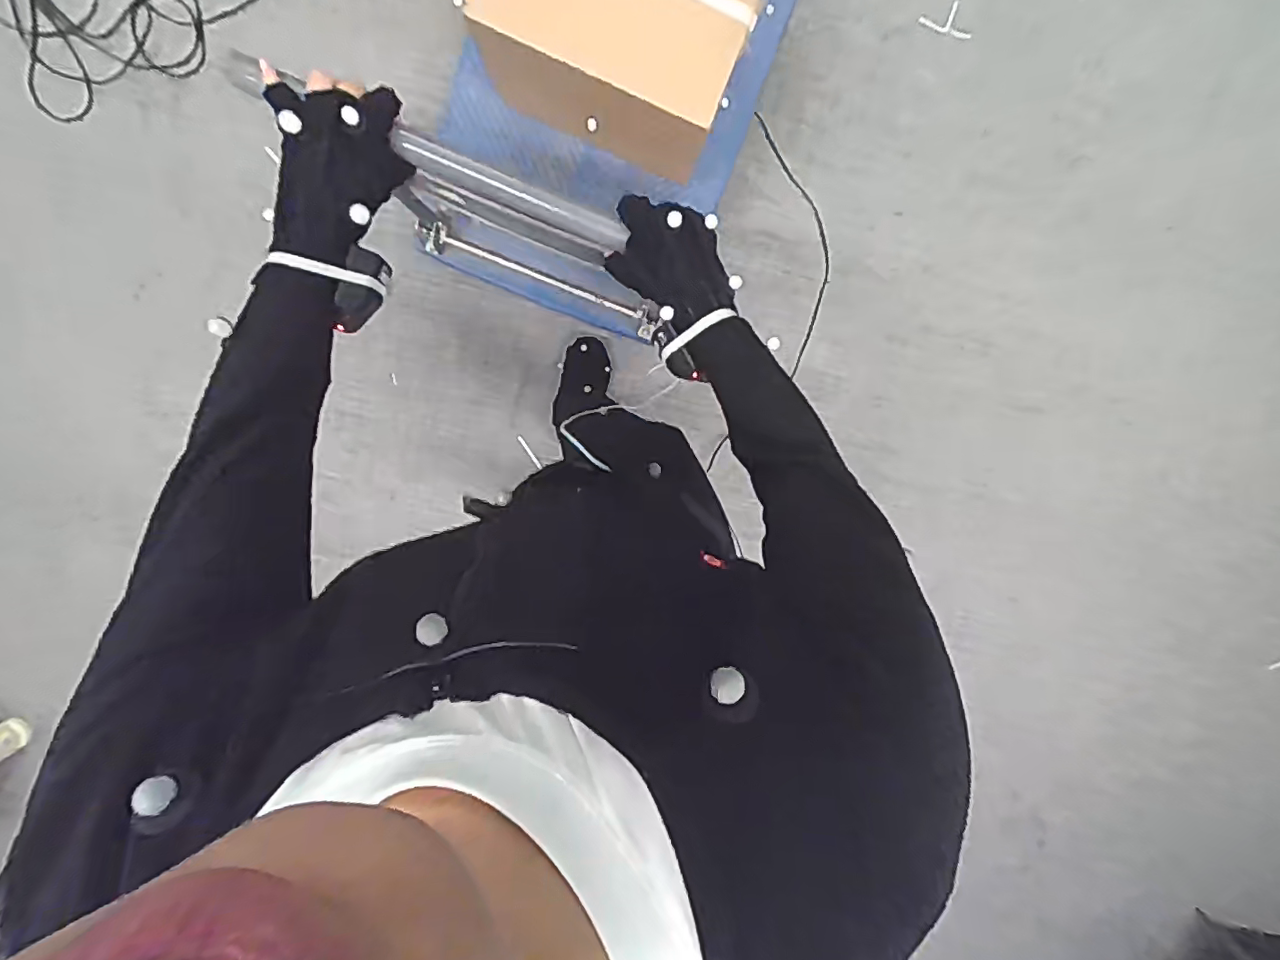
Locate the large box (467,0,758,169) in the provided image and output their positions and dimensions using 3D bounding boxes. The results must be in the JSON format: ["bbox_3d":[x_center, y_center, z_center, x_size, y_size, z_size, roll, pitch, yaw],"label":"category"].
[{"bbox_3d":[-0.019,-0.806,0.928,0.408,0.320,0.320,21,102,-7],"label":"large box"}]
